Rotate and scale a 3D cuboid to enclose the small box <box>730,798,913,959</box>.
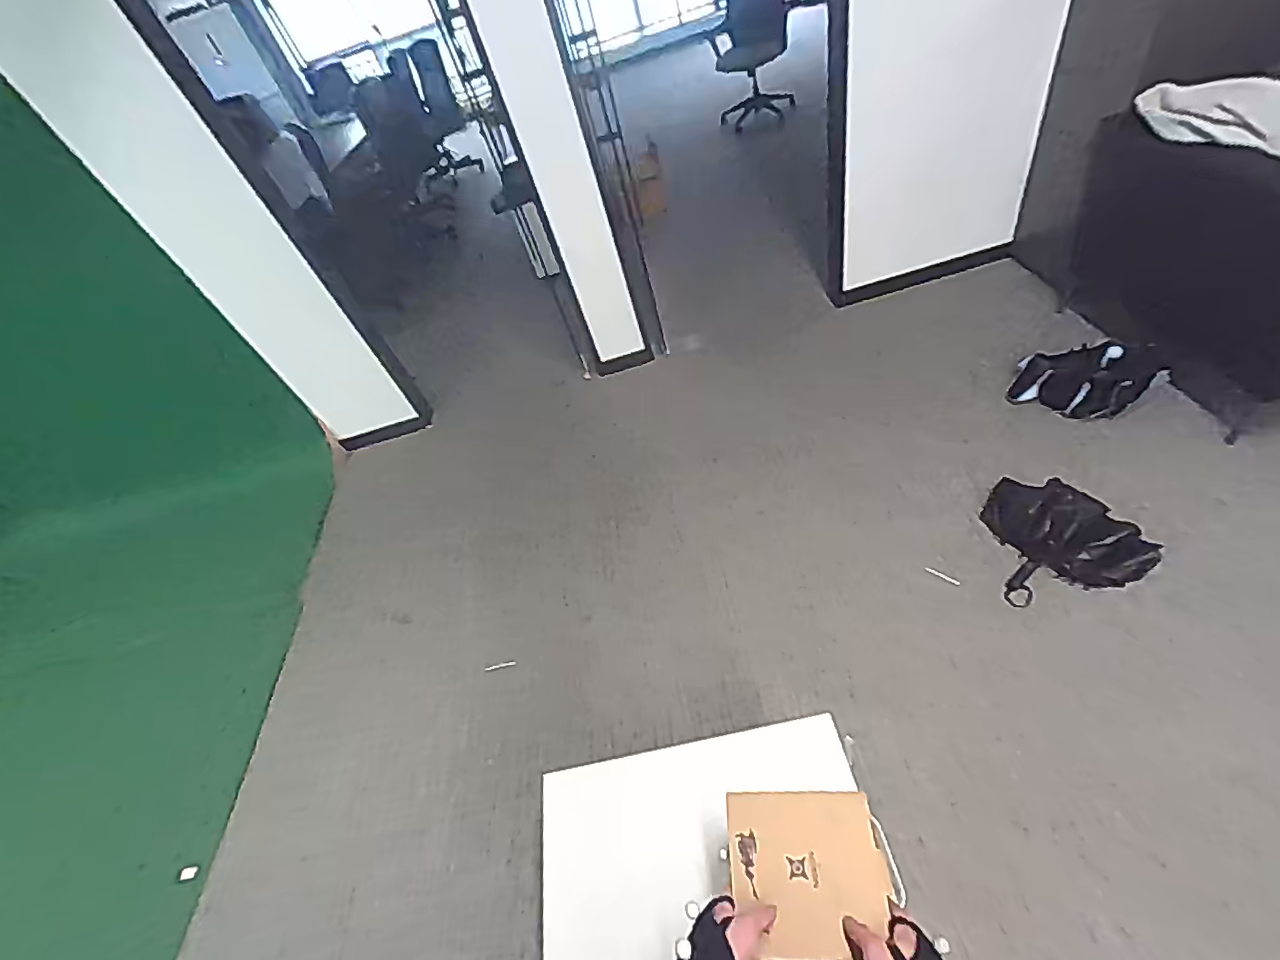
[{"bbox_3d":[0.204,0.506,0.661,0.179,0.176,0.168,-4,43,6],"label":"small box"}]
